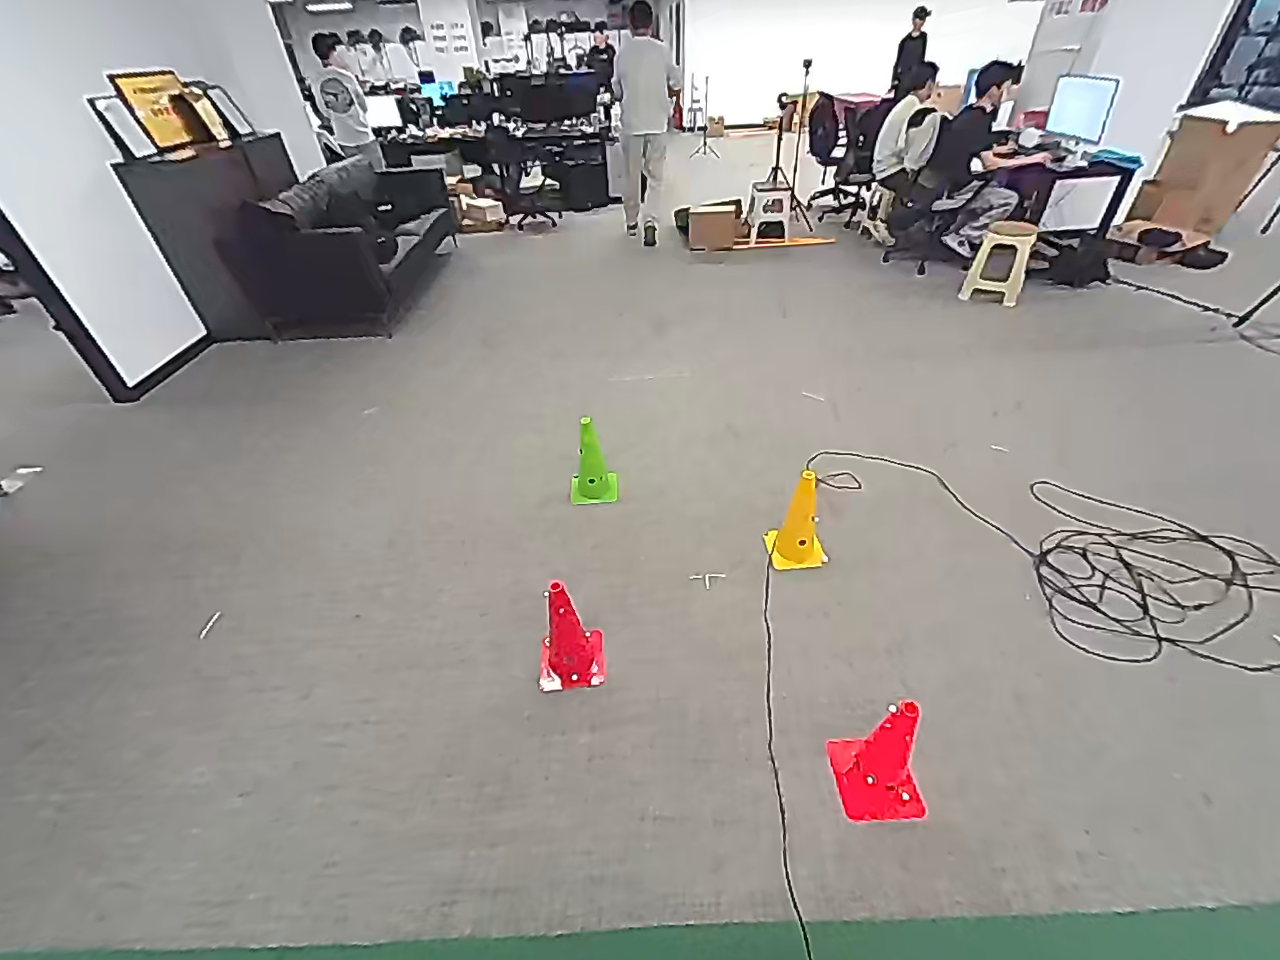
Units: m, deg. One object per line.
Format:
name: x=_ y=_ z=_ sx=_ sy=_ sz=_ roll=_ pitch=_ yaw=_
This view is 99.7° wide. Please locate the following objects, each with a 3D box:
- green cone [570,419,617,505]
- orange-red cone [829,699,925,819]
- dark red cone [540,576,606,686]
green cone: x=-0.209 y=-0.091 z=2.257 sx=0.202 sy=0.368 sz=0.200 roll=-3 pitch=39 yaw=-1
orange-red cone: x=0.598 y=0.630 z=1.287 sx=0.198 sy=0.360 sz=0.199 roll=-2 pitch=38 yaw=0
dark red cone: x=-0.218 y=0.420 z=1.582 sx=0.202 sy=0.394 sz=0.201 roll=-7 pitch=40 yaw=-4
